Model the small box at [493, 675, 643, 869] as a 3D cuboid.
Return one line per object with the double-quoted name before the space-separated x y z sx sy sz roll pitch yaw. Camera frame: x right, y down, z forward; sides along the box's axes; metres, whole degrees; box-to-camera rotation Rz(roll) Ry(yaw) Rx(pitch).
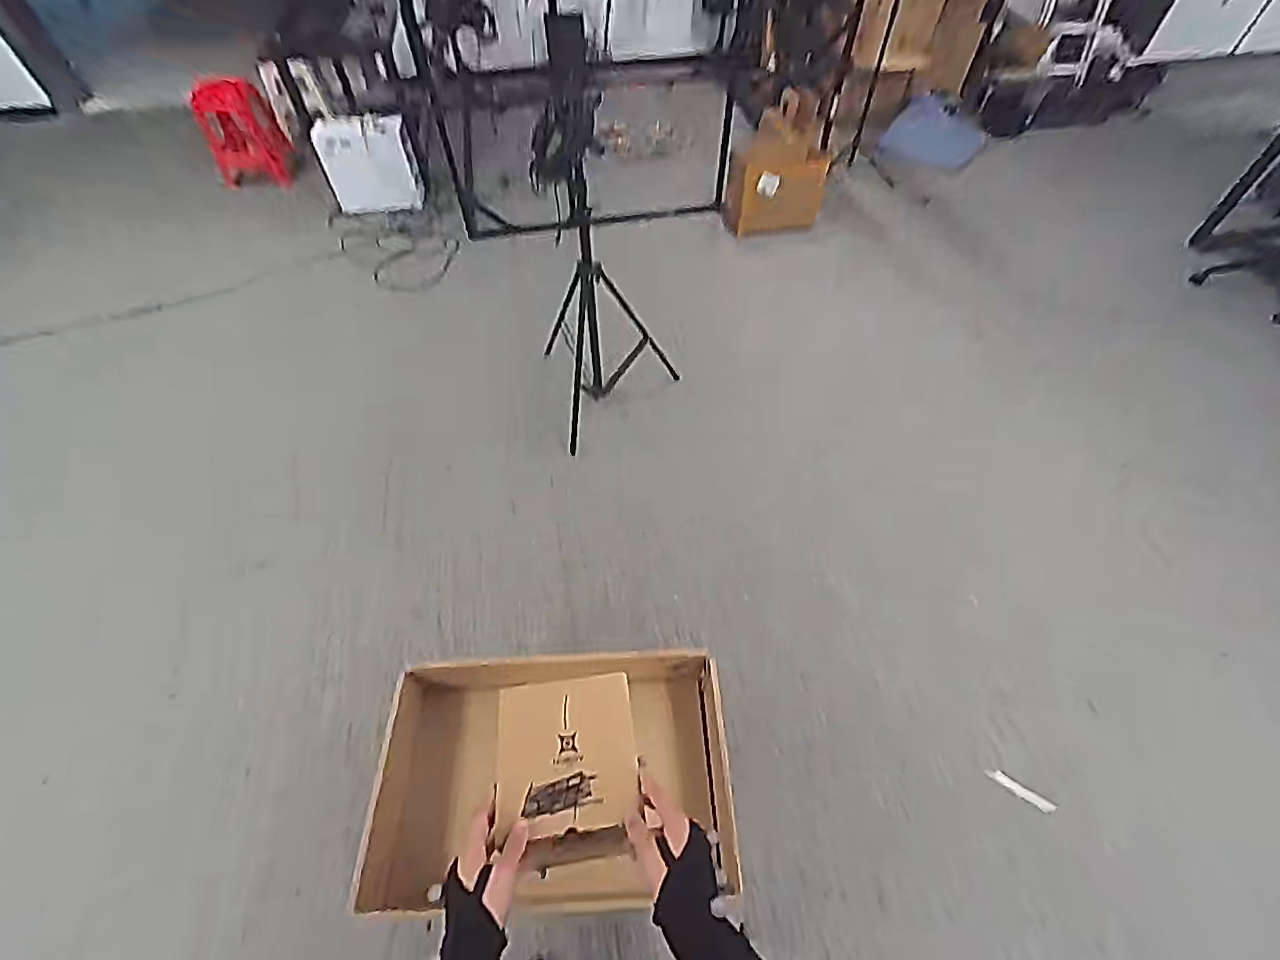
"small box" -0.087 0.378 0.694 0.168 0.176 0.179 -6 46 -6
